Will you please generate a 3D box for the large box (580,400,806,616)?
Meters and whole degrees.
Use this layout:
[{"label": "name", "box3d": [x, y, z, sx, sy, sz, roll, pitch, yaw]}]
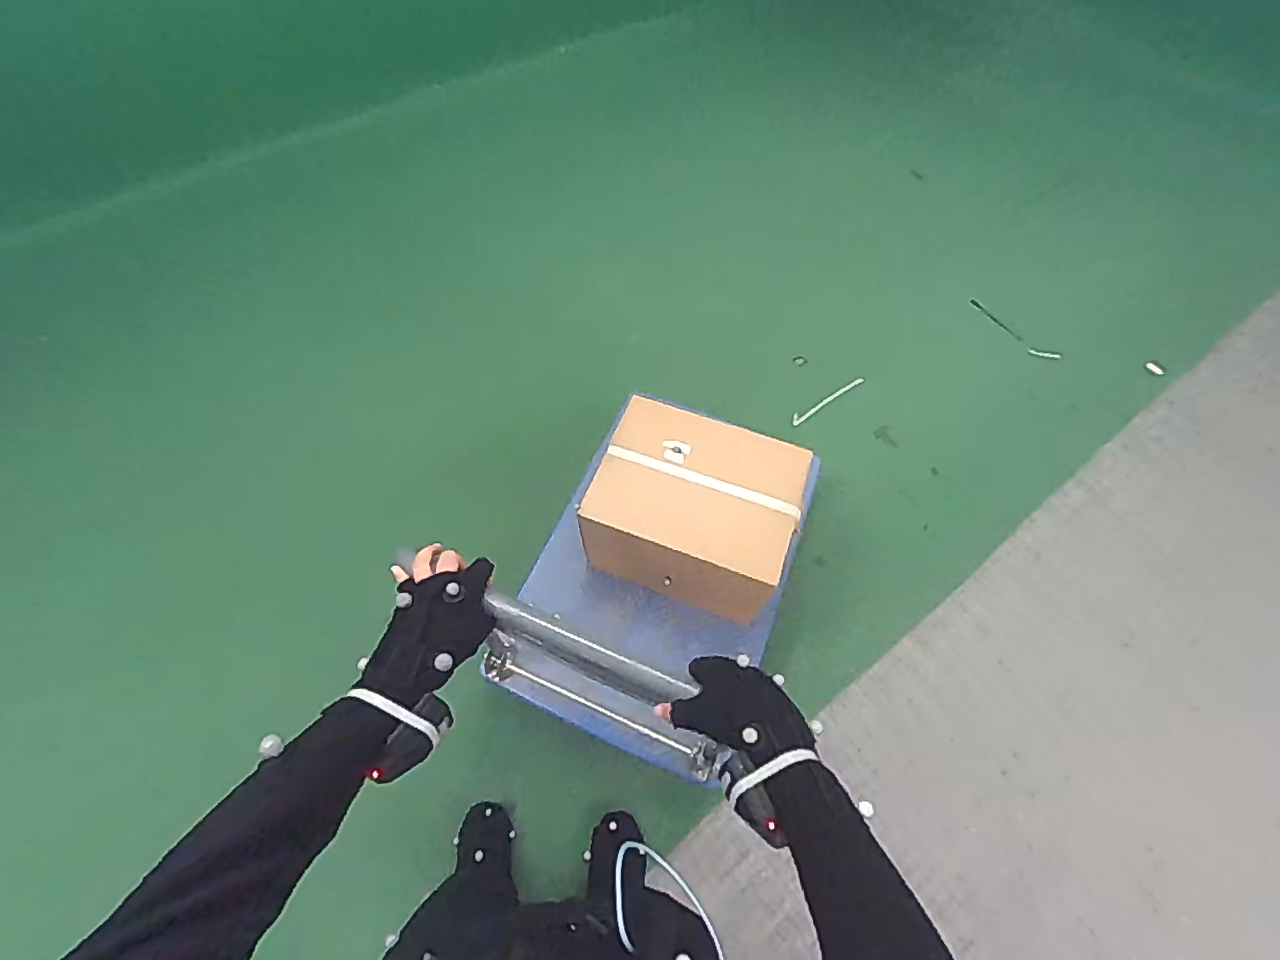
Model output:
[{"label": "large box", "box3d": [0.119, 0.074, 1.235, 0.408, 0.320, 0.320, 18, 62, 10]}]
